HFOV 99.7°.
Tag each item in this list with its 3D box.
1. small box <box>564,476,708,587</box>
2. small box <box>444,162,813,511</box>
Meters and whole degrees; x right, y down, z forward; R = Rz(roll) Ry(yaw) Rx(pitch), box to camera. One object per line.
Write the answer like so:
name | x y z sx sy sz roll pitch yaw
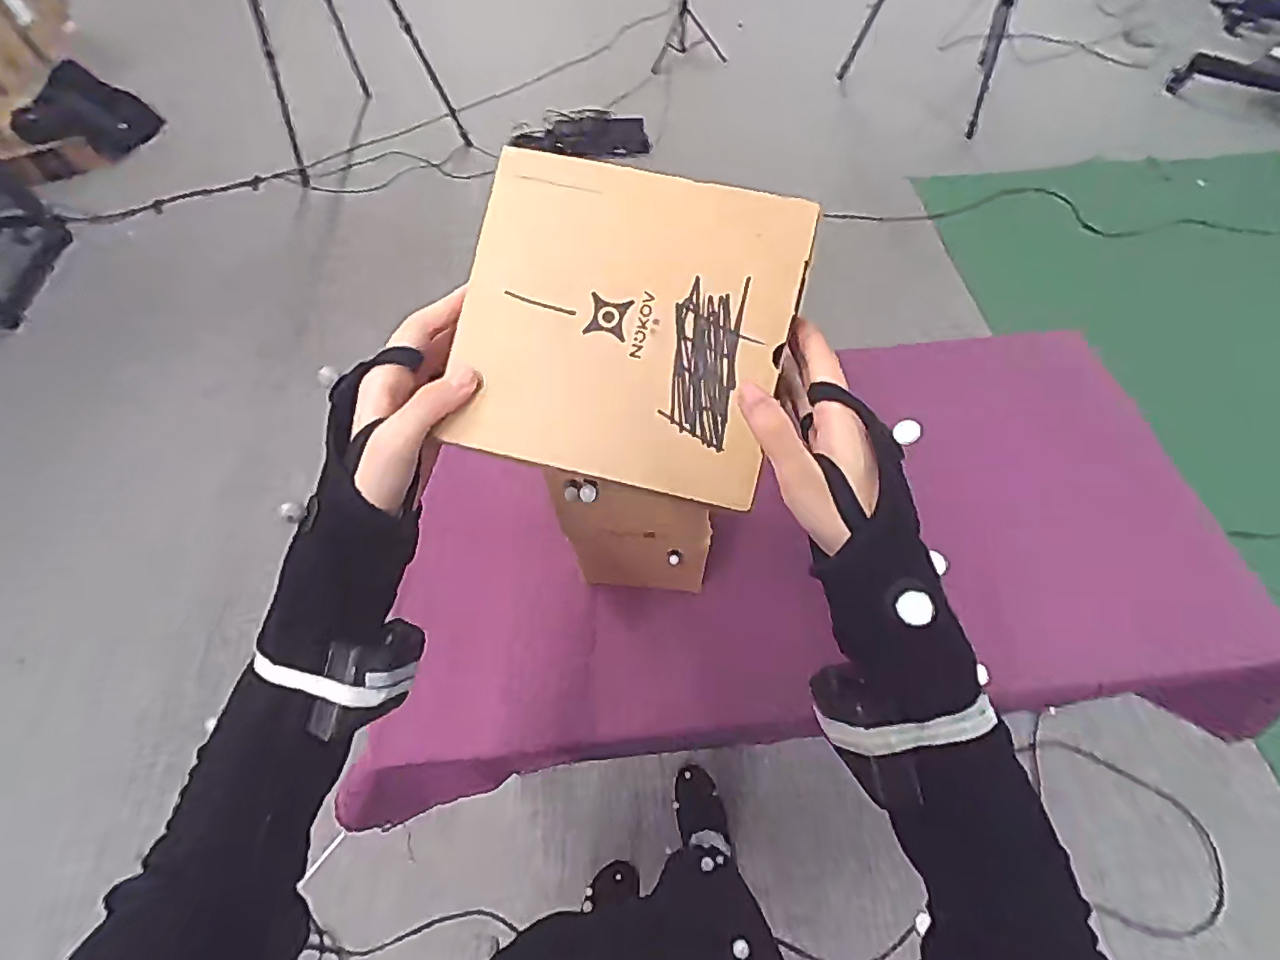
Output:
small box | 0.002 0.041 0.758 0.179 0.176 0.168 4 58 3
small box | -0.002 -0.078 0.378 0.179 0.176 0.168 13 87 5
